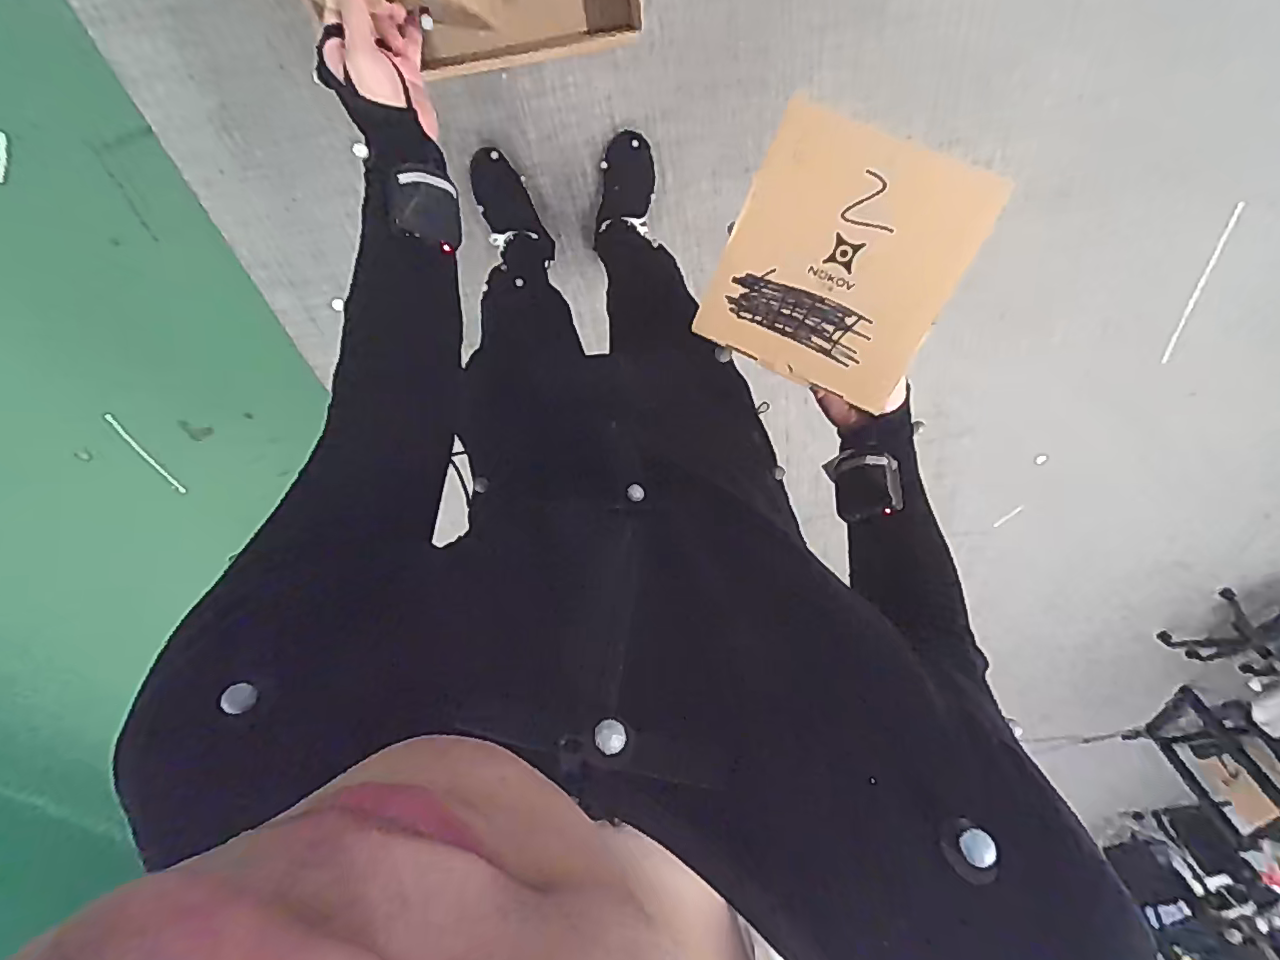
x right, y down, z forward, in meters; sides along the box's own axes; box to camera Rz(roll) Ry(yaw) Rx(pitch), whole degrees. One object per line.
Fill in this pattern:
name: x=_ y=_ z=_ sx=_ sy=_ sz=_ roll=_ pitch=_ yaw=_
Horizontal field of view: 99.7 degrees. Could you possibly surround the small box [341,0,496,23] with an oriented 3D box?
small box: x=-0.227 y=-0.522 z=0.461 sx=0.168 sy=0.176 sz=0.179 roll=6 pitch=120 yaw=0
